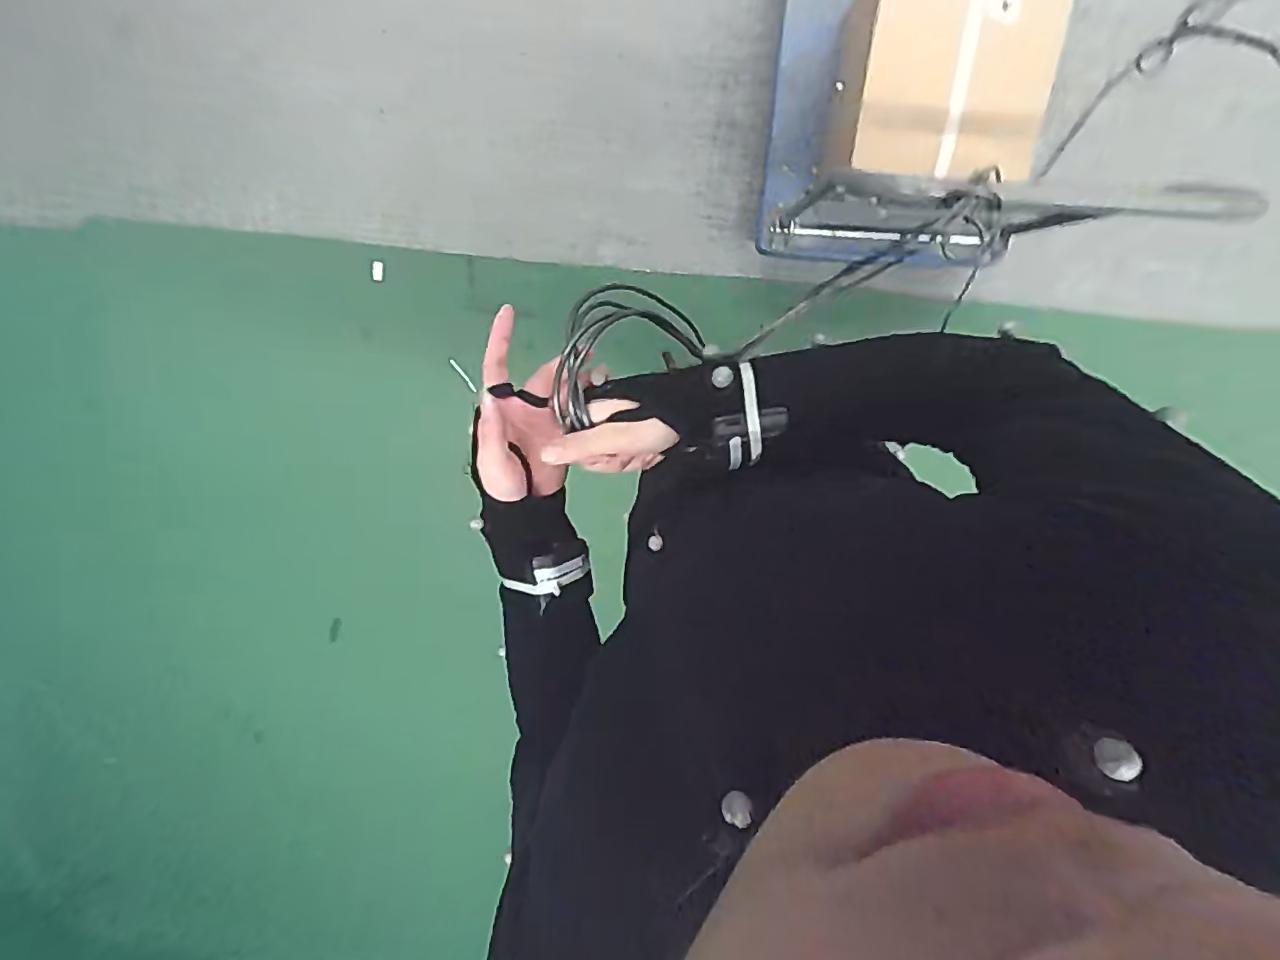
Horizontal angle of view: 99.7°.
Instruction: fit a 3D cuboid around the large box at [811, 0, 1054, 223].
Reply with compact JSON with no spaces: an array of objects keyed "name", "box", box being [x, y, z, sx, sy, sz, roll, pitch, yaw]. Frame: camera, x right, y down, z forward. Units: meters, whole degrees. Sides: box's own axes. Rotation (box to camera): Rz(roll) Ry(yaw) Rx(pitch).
[{"name":"large box","box":[0.553,-0.768,1.087,0.320,0.320,0.408,6,104,3]}]
